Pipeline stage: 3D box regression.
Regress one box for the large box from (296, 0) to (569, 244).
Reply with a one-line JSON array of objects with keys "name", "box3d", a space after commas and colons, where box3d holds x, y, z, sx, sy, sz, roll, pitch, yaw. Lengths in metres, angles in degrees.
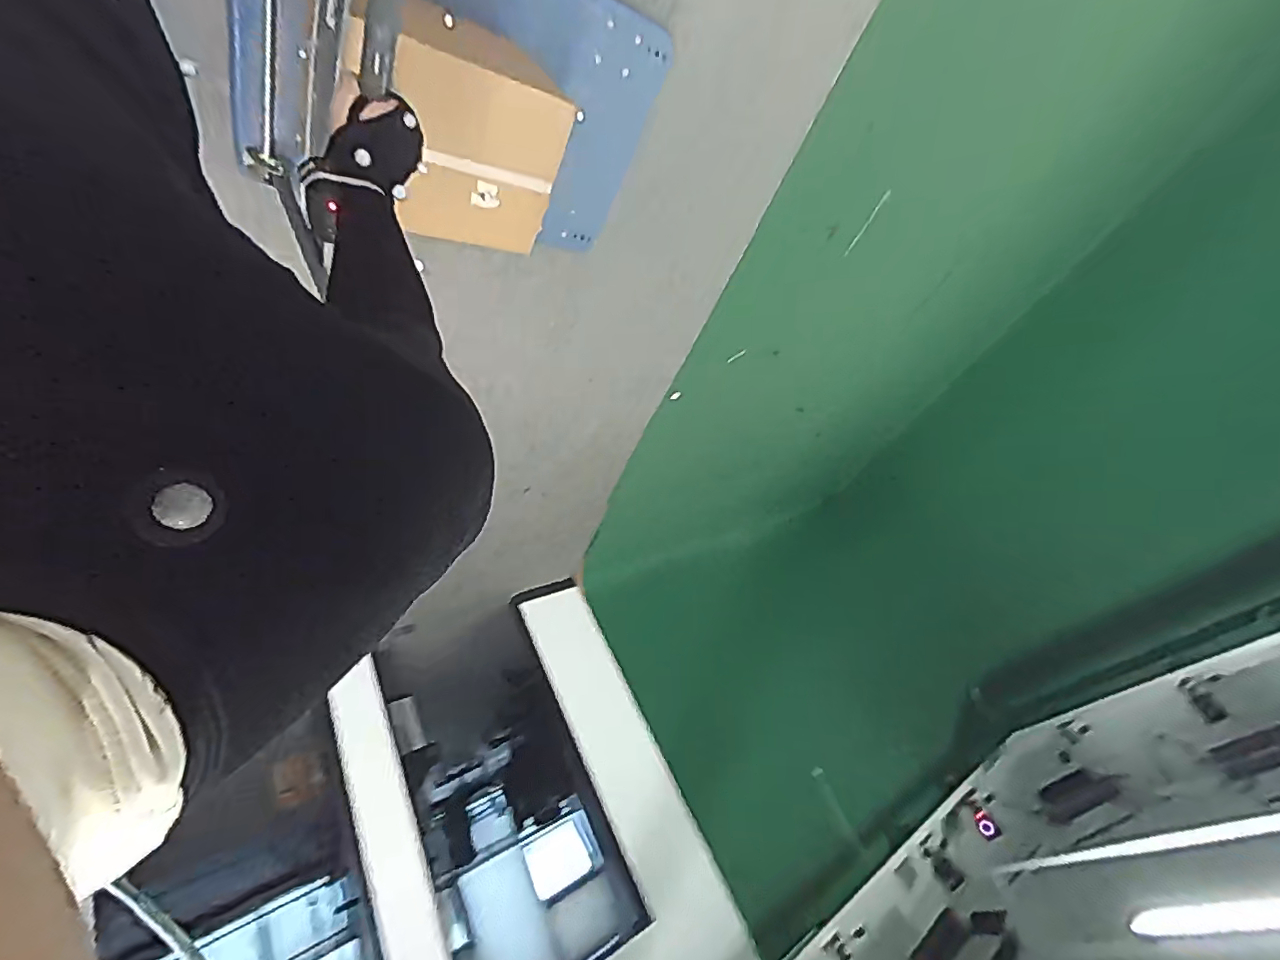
[{"name": "large box", "box3d": [-0.420, -0.716, 1.064, 0.408, 0.320, 0.320, -8, 145, -39]}]
